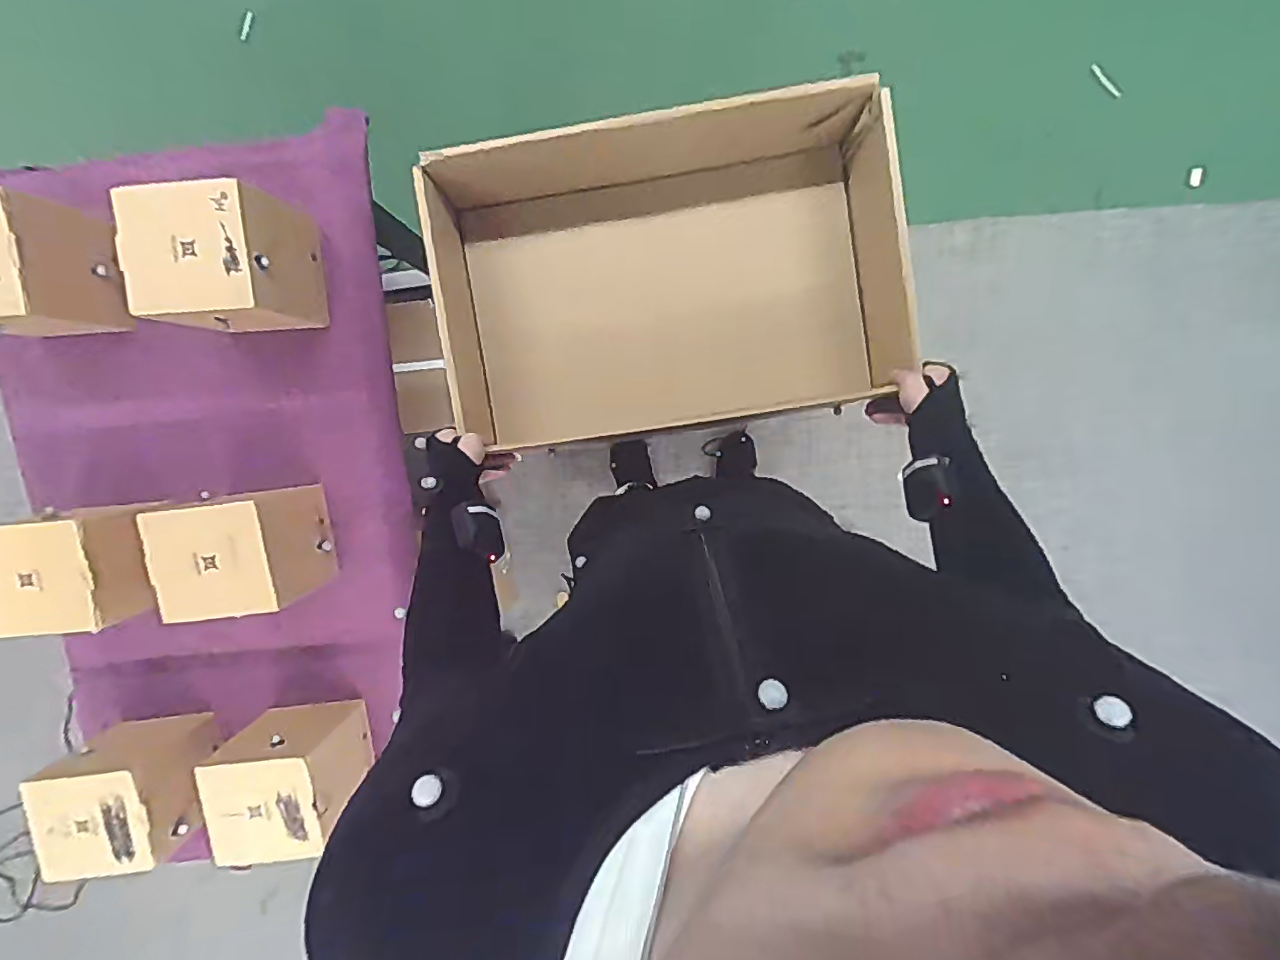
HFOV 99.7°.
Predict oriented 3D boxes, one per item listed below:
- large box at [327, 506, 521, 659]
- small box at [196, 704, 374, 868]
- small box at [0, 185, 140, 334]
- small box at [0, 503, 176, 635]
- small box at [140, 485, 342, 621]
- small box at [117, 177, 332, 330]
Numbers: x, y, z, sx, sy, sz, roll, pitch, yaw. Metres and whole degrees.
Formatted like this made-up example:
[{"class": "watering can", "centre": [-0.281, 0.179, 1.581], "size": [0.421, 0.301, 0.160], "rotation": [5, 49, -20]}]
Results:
[{"class": "large box", "centre": [-0.590, 0.271, 1.524], "size": [0.408, 0.320, 0.320], "rotation": [-7, 95, 3]}, {"class": "small box", "centre": [-0.558, 0.485, 0.880], "size": [0.179, 0.176, 0.168], "rotation": [-7, 96, 3]}, {"class": "small box", "centre": [-0.905, -0.311, 0.794], "size": [0.179, 0.176, 0.168], "rotation": [-3, 99, 0]}, {"class": "small box", "centre": [-0.863, 0.131, 0.848], "size": [0.179, 0.176, 0.168], "rotation": [-5, 96, 0]}, {"class": "small box", "centre": [-0.604, 0.105, 0.841], "size": [0.179, 0.176, 0.168], "rotation": [-6, 97, 2]}, {"class": "small box", "centre": [-0.591, -0.318, 0.791], "size": [0.179, 0.176, 0.168], "rotation": [-3, 98, 3]}]
